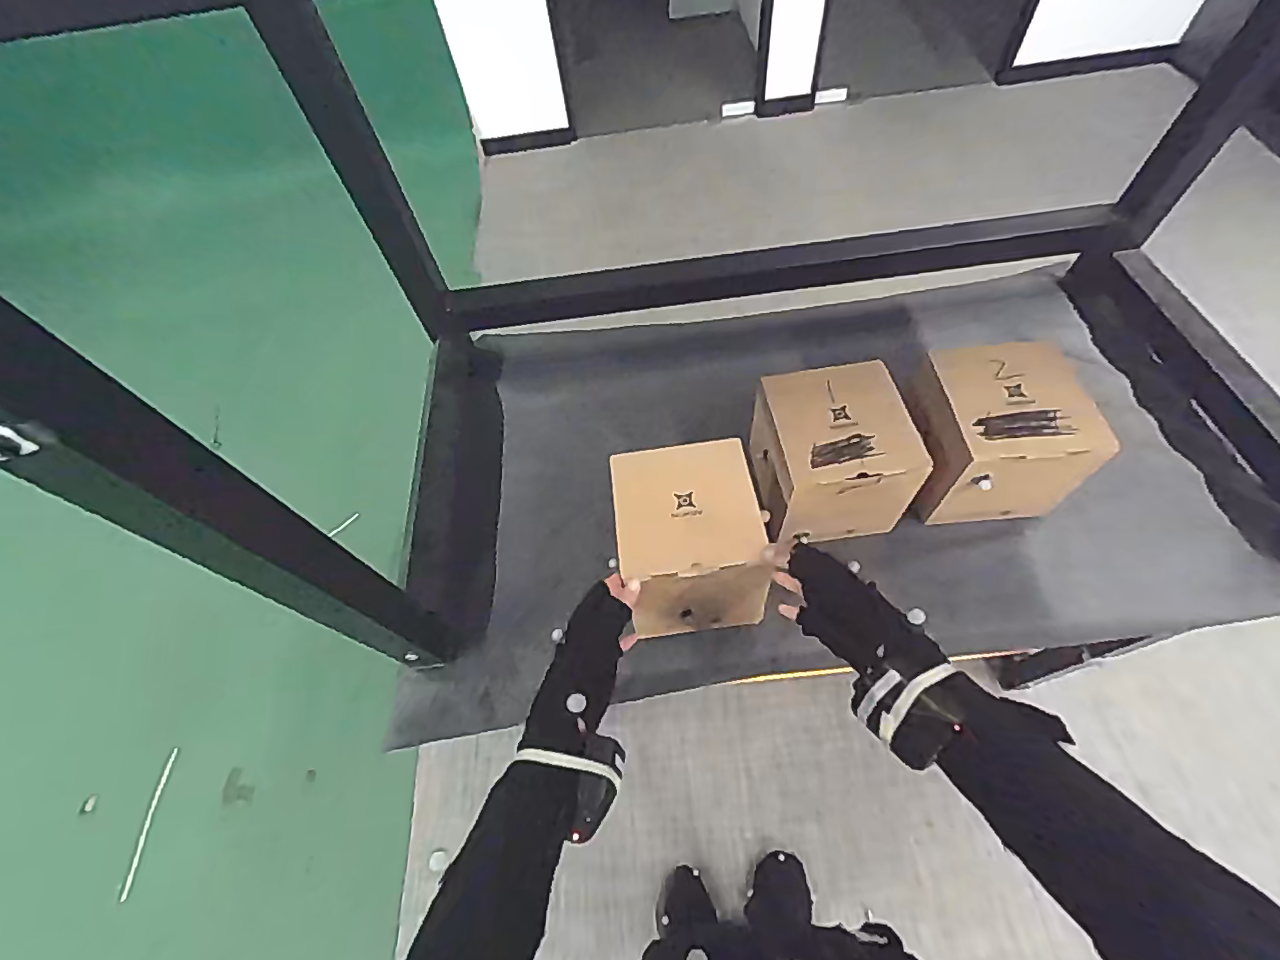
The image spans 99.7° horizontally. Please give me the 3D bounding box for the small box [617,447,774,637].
[{"bbox_3d":[0.064,0.083,0.701,0.168,0.176,0.179,-8,53,0],"label":"small box"}]
